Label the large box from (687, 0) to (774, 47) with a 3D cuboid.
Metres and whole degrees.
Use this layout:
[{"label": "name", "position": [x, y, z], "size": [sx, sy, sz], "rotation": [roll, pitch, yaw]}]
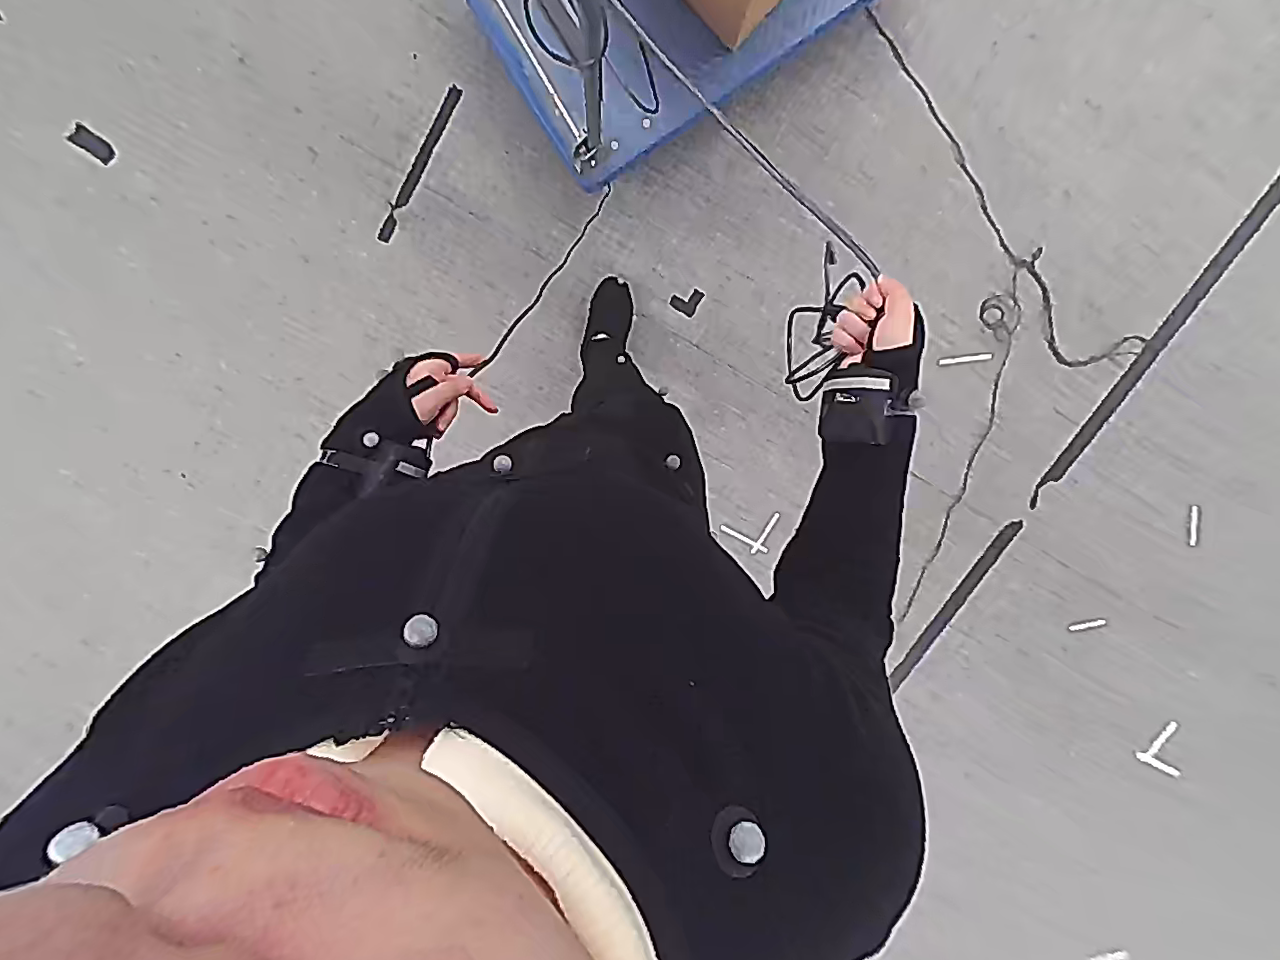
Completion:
[{"label": "large box", "position": [0.148, -1.085, 0.909], "size": [0.408, 0.320, 0.320], "rotation": [42, 100, -10]}]
